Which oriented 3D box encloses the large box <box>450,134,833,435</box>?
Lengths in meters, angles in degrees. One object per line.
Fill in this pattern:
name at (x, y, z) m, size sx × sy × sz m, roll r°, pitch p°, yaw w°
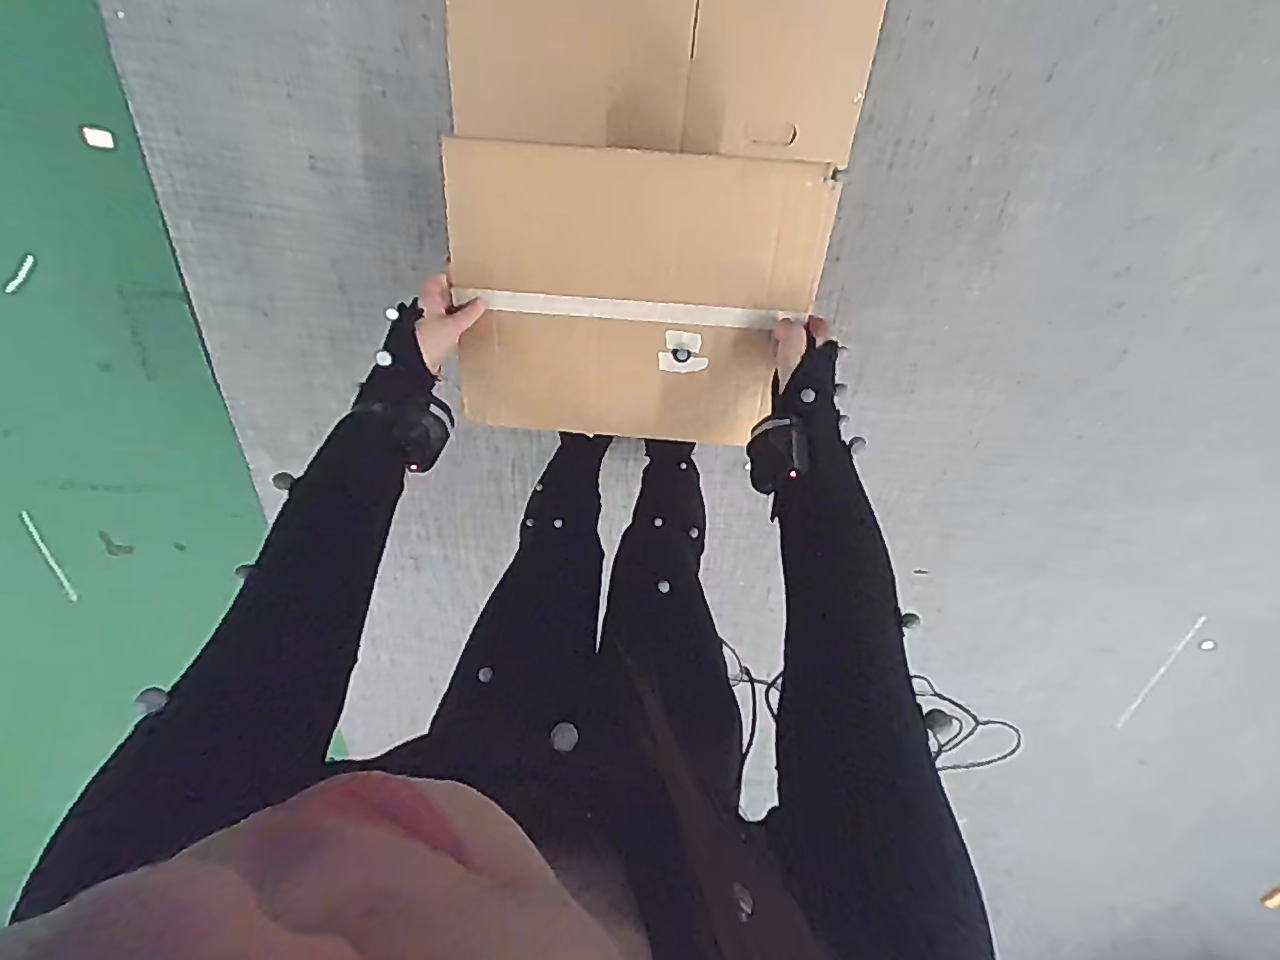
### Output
large box at (-0.004, -0.268, 0.753) m, size 0.408 × 0.320 × 0.320 m, roll 4°, pitch 116°, yaw 0°
